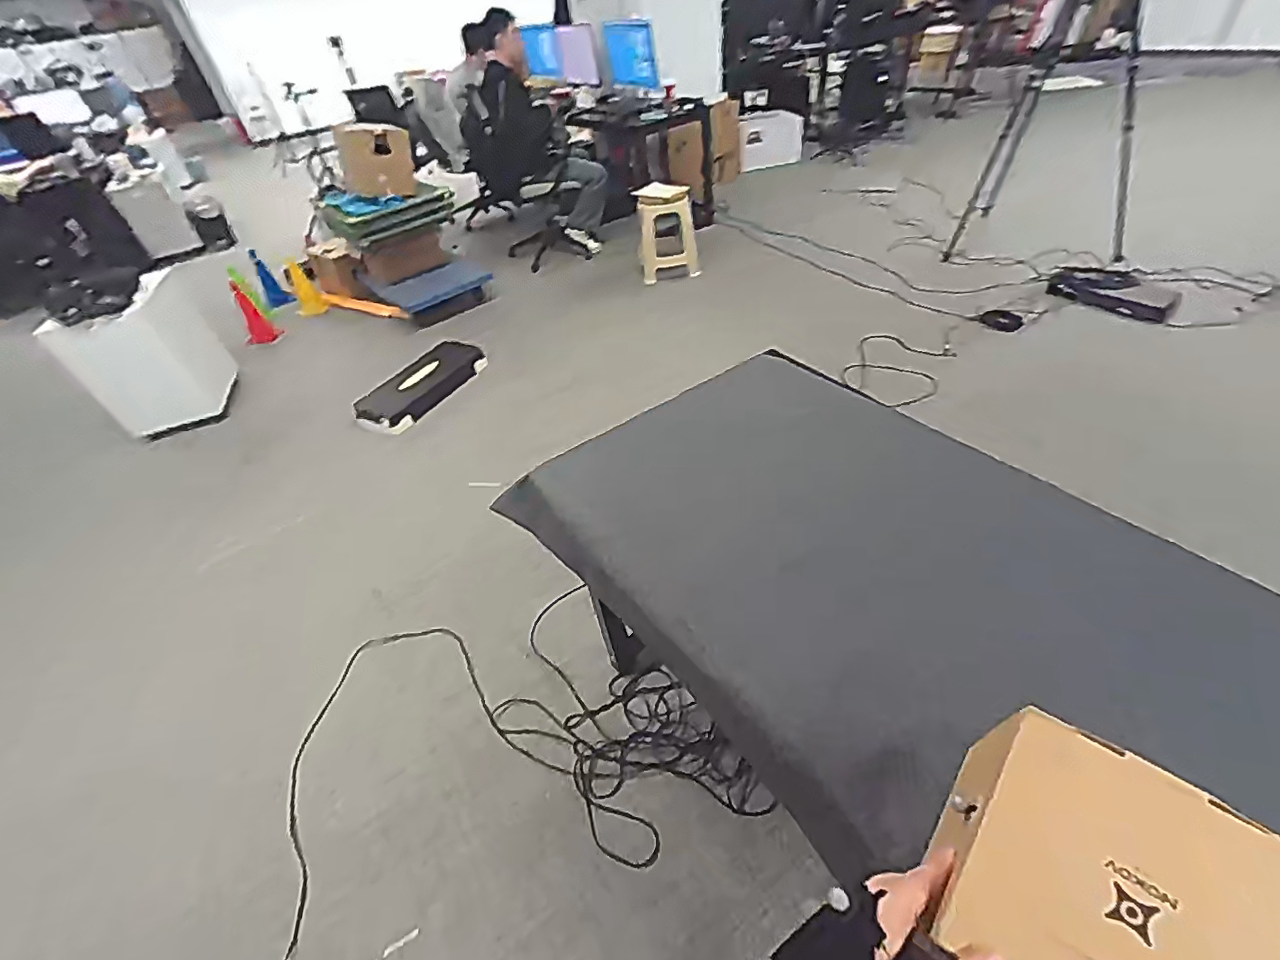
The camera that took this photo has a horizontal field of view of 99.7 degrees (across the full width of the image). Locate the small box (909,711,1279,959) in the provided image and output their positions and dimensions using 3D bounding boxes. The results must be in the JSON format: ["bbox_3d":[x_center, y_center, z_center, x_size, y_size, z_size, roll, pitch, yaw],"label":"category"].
[{"bbox_3d":[0.315,0.306,0.386,0.168,0.176,0.179,27,65,31],"label":"small box"}]
